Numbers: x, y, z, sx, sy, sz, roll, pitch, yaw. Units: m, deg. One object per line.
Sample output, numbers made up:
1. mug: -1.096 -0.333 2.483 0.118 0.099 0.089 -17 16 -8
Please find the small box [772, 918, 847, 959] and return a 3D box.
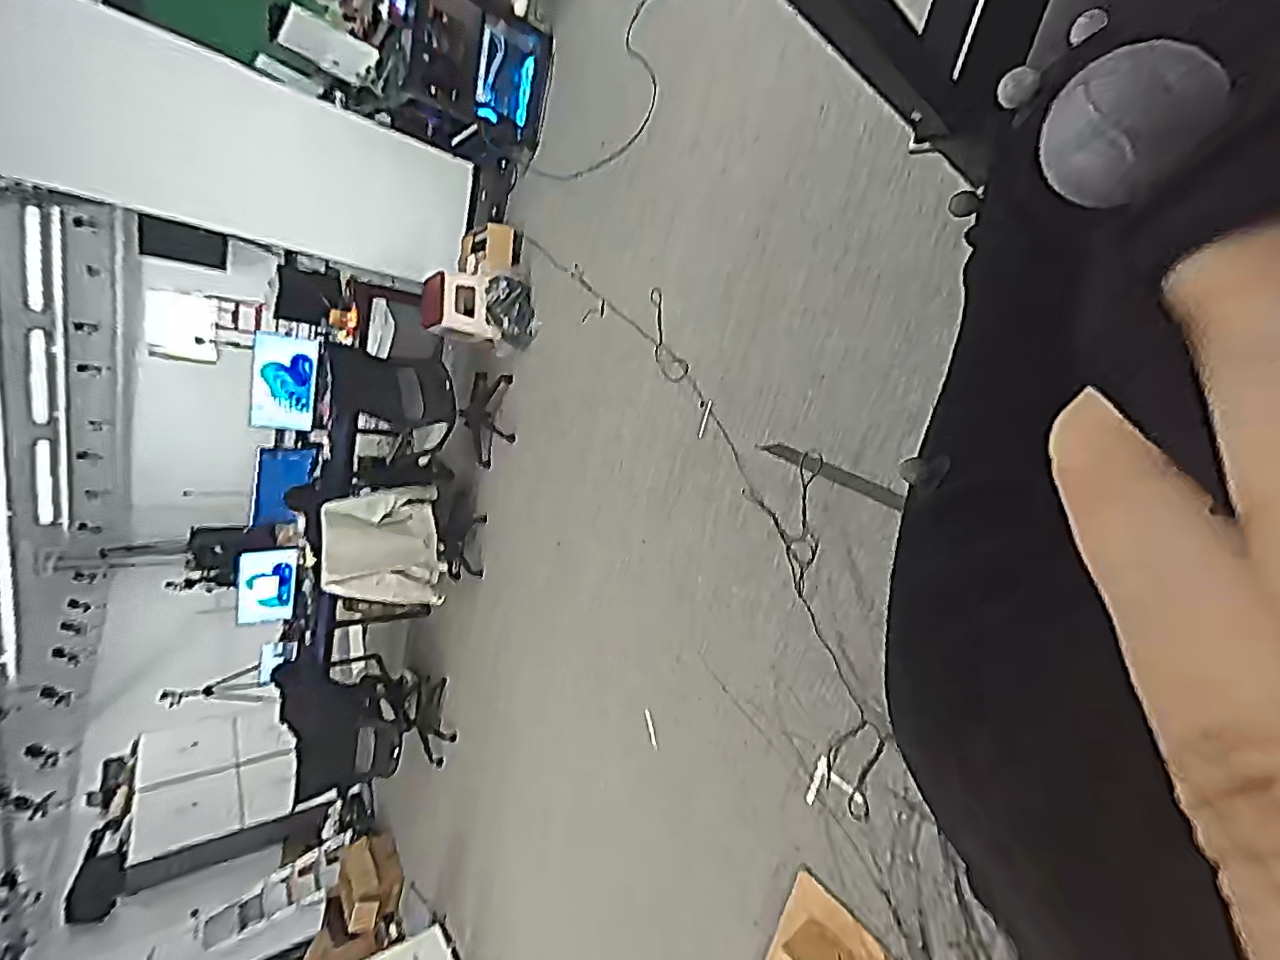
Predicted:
1. small box: 0.499 1.467 1.603 0.168 0.176 0.179 24 107 47
